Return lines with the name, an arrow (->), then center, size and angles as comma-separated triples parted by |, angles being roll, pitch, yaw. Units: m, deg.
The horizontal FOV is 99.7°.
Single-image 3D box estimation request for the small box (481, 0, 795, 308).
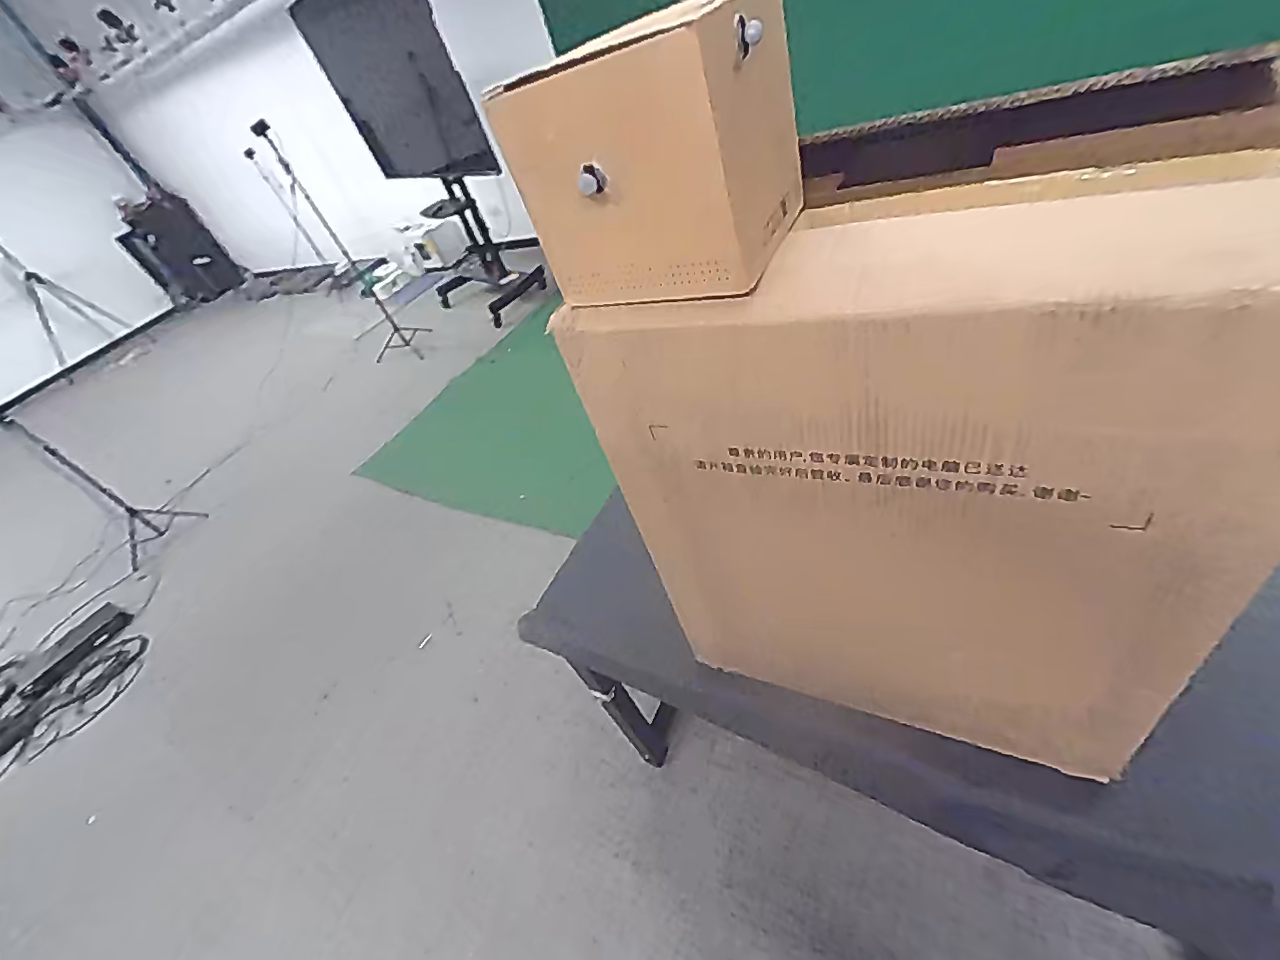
small box -> 0.013, -0.259, 0.450 | 0.179, 0.176, 0.168 | 5, 49, 32
